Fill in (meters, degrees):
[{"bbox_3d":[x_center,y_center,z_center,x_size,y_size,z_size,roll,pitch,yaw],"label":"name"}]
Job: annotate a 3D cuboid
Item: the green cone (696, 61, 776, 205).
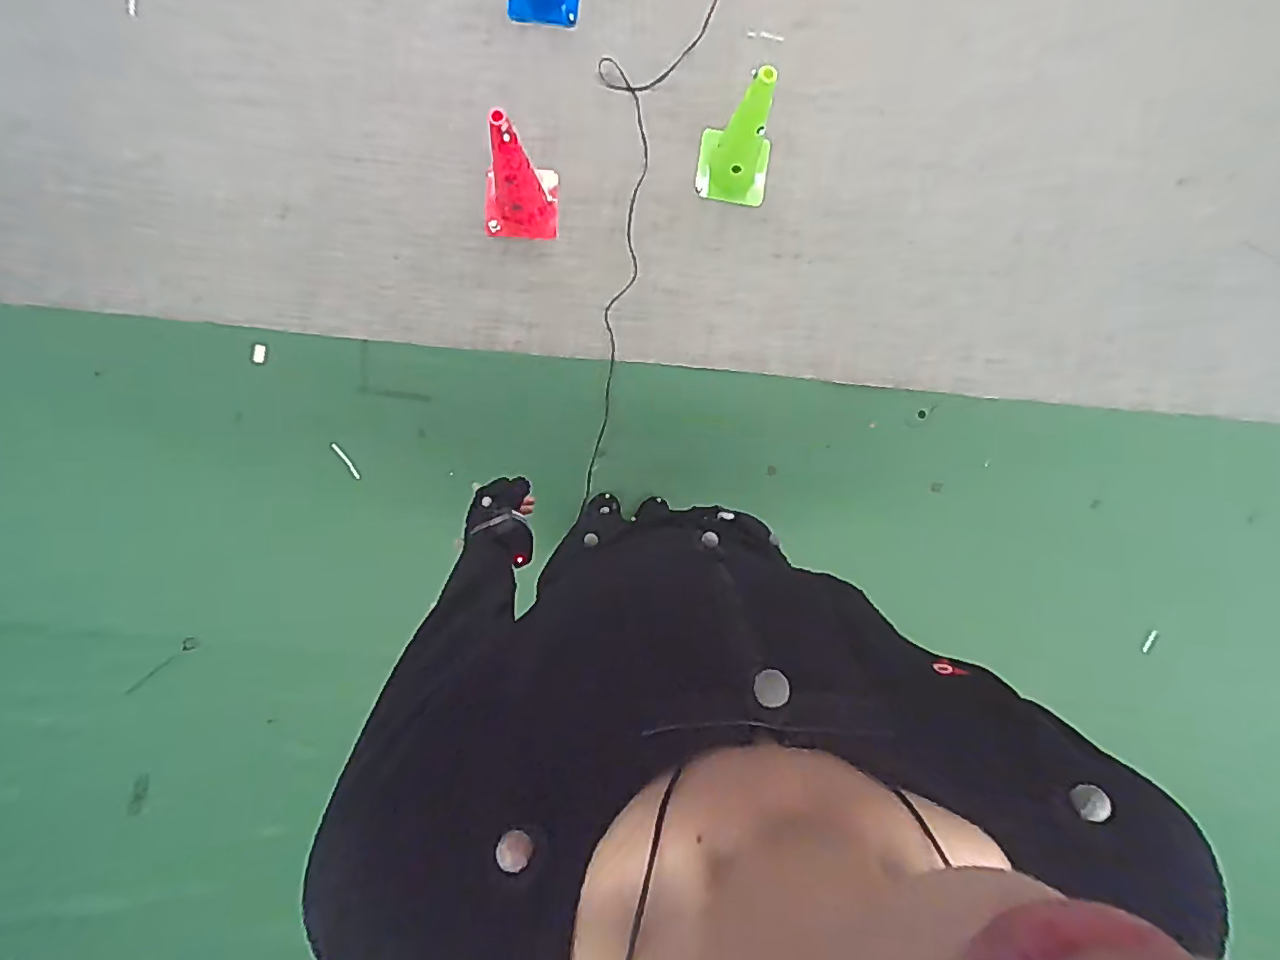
[{"bbox_3d":[0.278,-0.905,1.383,0.200,0.368,0.202,7,87,-3],"label":"green cone"}]
